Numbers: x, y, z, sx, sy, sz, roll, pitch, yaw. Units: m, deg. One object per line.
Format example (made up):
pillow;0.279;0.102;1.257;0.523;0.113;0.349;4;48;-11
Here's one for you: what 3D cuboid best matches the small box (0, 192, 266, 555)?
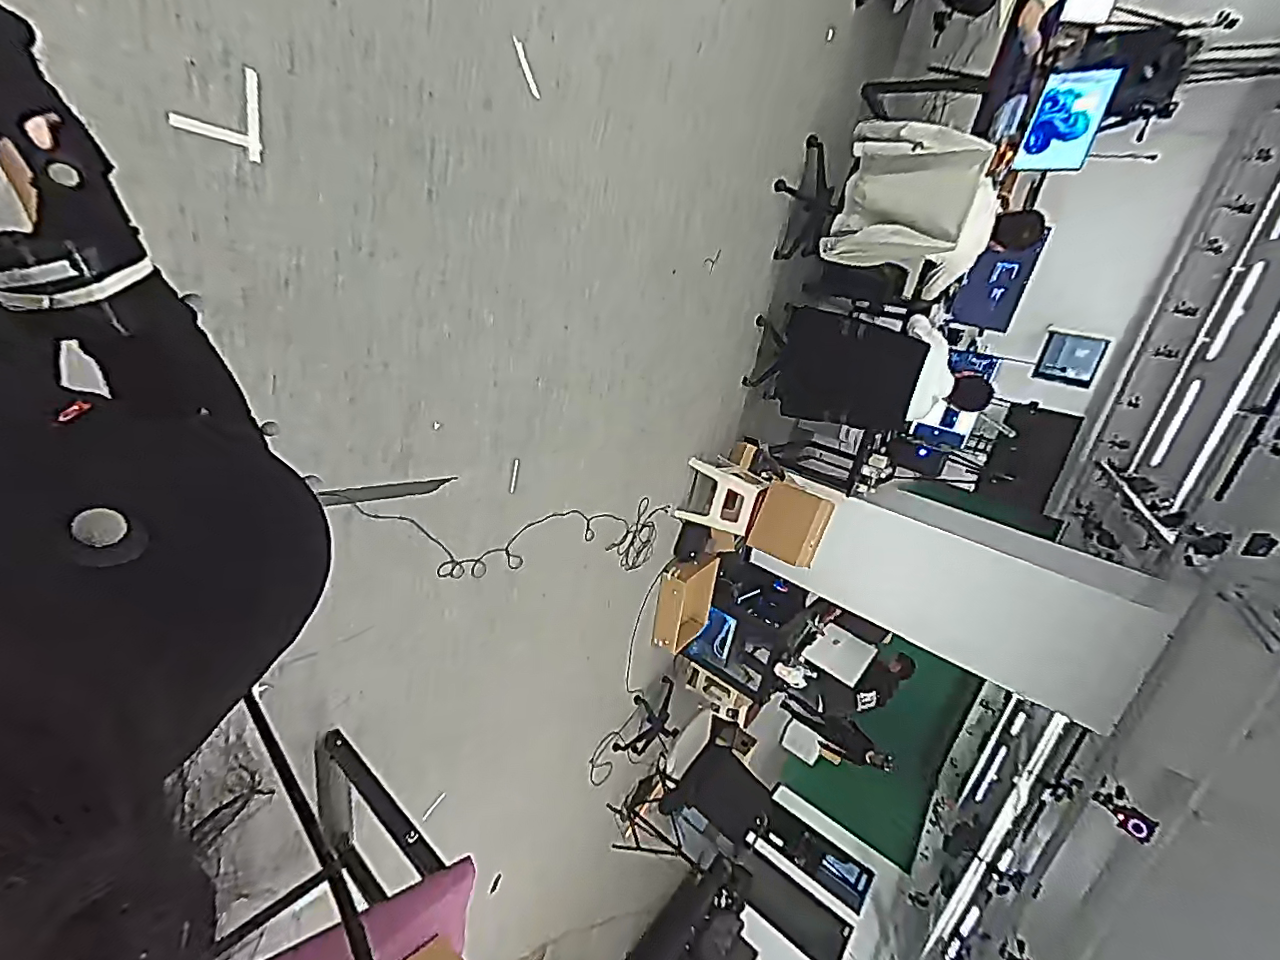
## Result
small box;-0.411;-0.078;0.381;0.168;0.176;0.179;31;97;-27
